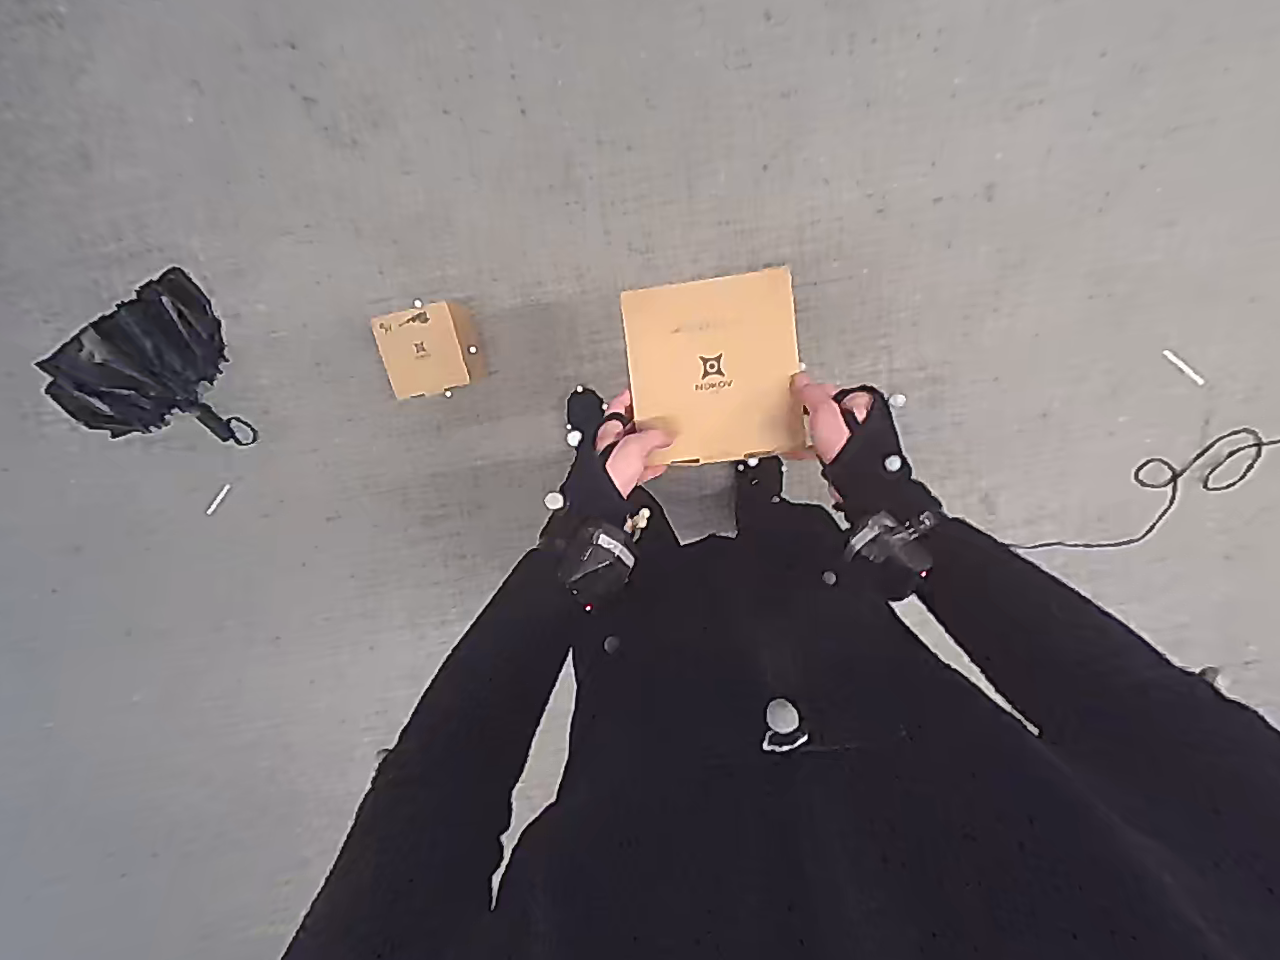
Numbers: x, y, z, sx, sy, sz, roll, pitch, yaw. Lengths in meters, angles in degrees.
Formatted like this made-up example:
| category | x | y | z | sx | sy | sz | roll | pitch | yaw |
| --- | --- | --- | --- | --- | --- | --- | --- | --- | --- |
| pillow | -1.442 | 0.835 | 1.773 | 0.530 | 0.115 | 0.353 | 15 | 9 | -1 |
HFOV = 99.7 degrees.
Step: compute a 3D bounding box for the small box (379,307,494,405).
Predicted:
| category | x | y | z | sx | sy | sz | roll | pitch | yaw |
| --- | --- | --- | --- | --- | --- | --- | --- | --- | --- |
| small box | -0.446 | -0.280 | 1.216 | 0.168 | 0.176 | 0.179 | -14 | 104 | 2 |
